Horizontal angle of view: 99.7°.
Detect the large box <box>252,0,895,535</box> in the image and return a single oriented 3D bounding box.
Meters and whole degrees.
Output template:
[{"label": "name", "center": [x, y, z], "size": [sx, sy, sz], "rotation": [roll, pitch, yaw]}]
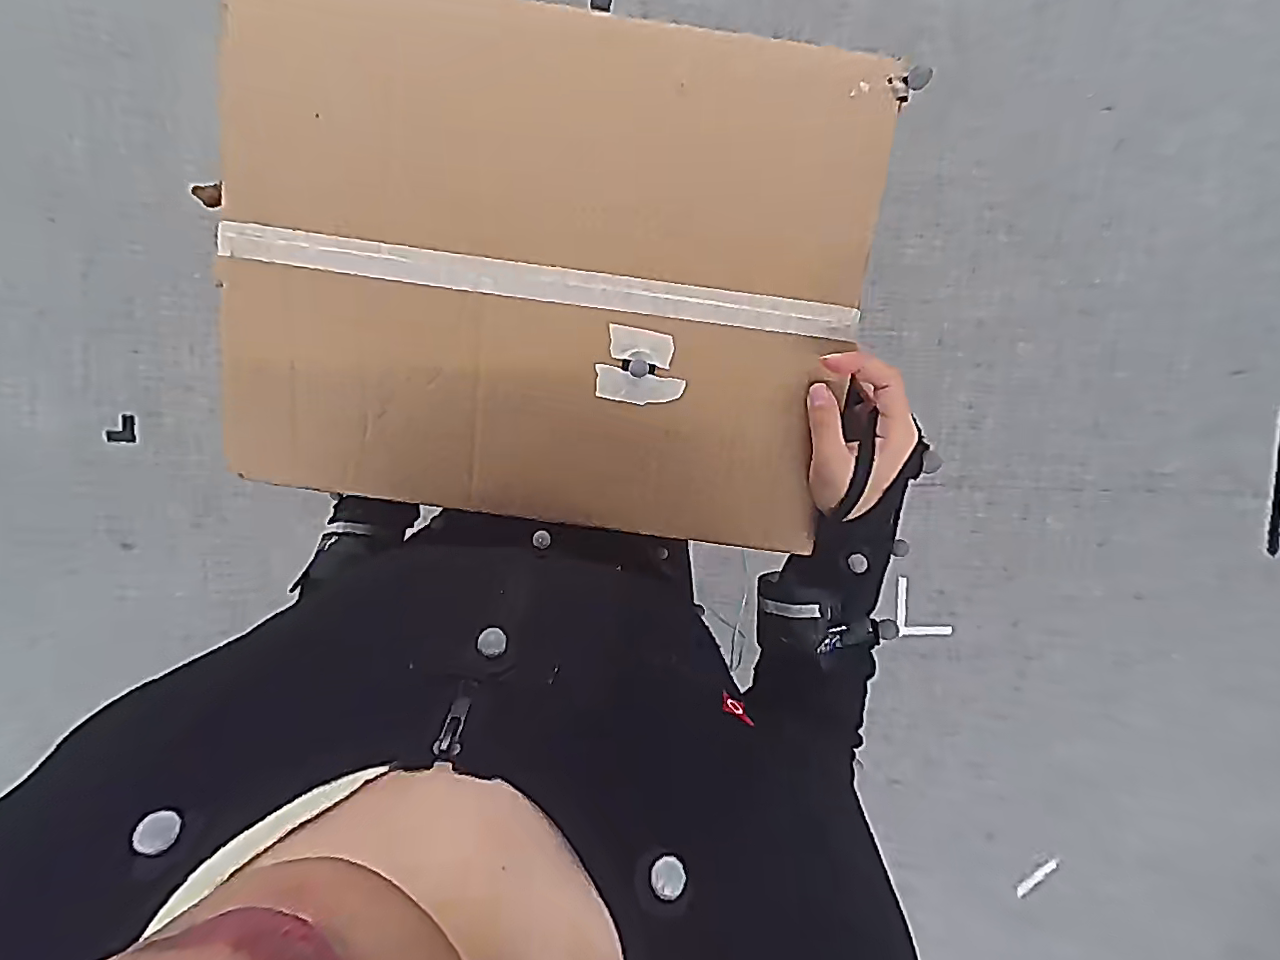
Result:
[{"label": "large box", "center": [-0.057, -0.154, 0.504], "size": [0.408, 0.320, 0.320], "rotation": [7, 101, -2]}]
